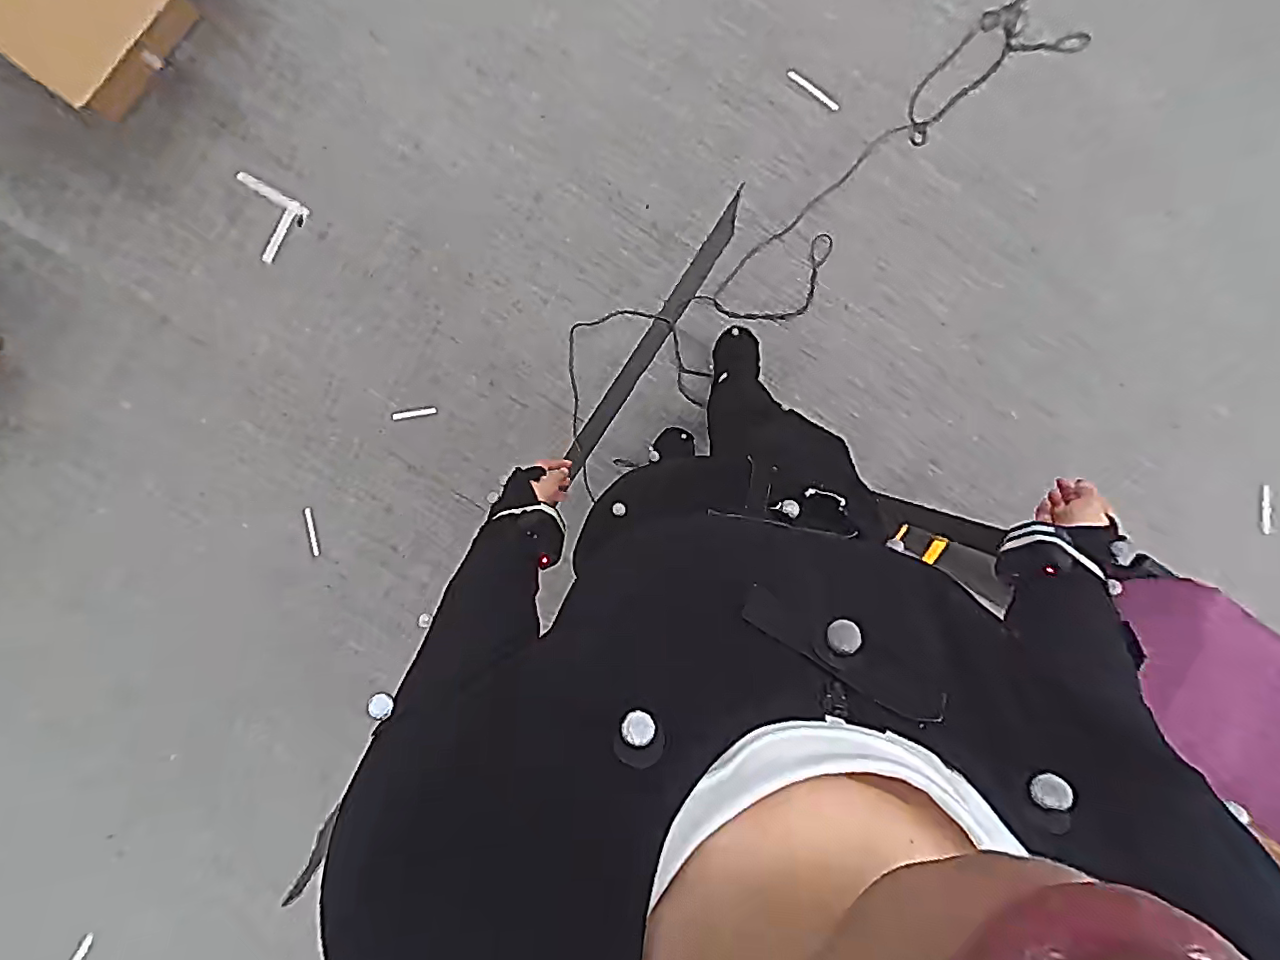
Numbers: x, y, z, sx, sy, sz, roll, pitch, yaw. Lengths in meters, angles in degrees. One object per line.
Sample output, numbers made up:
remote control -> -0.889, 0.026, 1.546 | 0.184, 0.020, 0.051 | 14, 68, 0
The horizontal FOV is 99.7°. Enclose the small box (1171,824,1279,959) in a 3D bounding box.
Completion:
small box -> 0.821, 0.577, 0.658 | 0.168, 0.176, 0.179 | 29, 95, -6
